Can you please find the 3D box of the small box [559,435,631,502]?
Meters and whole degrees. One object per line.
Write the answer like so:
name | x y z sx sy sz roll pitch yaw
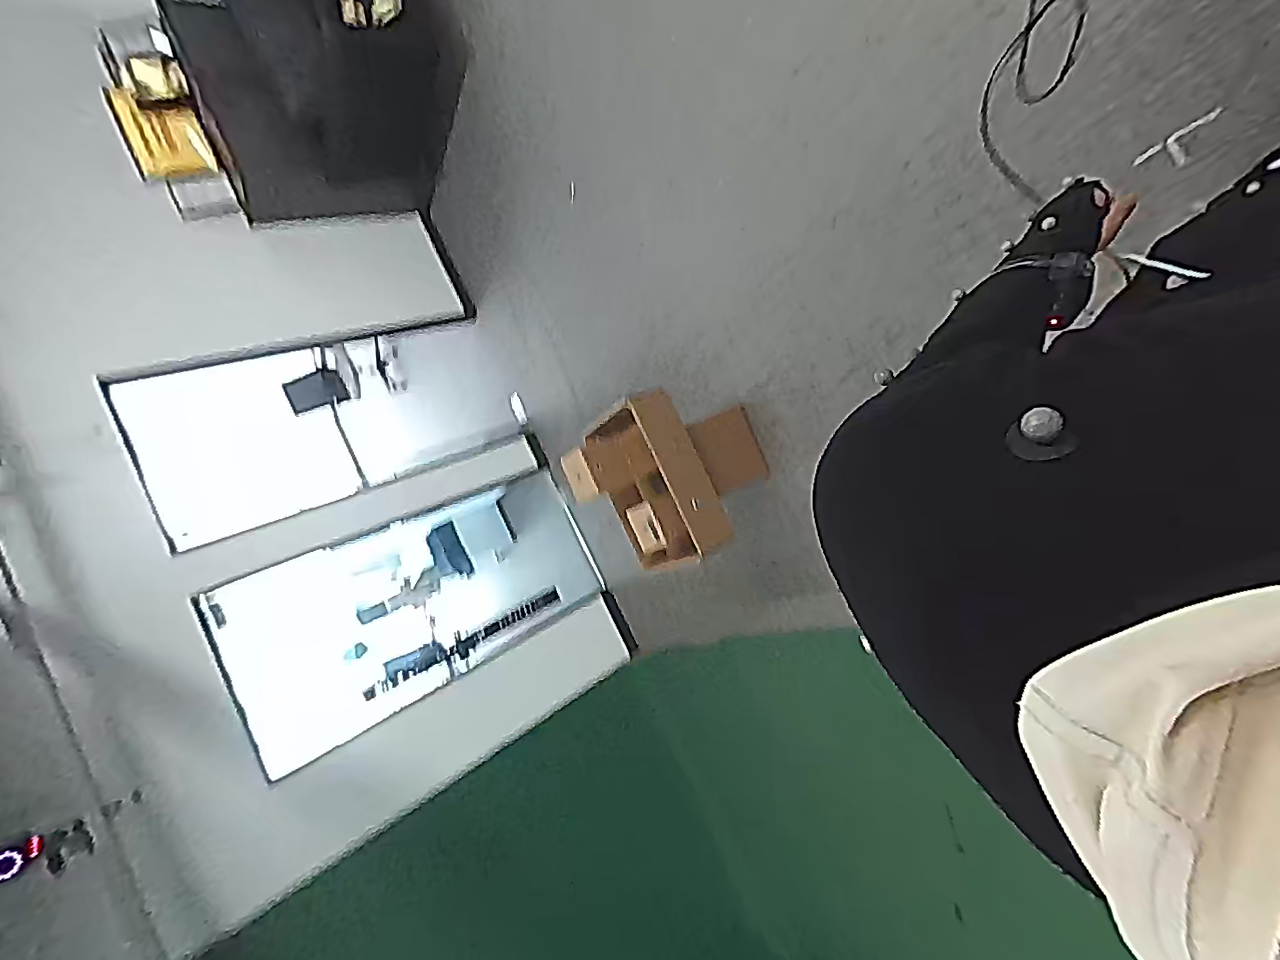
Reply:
small box | -0.157 -0.041 1.931 0.168 0.176 0.179 -25 88 55
